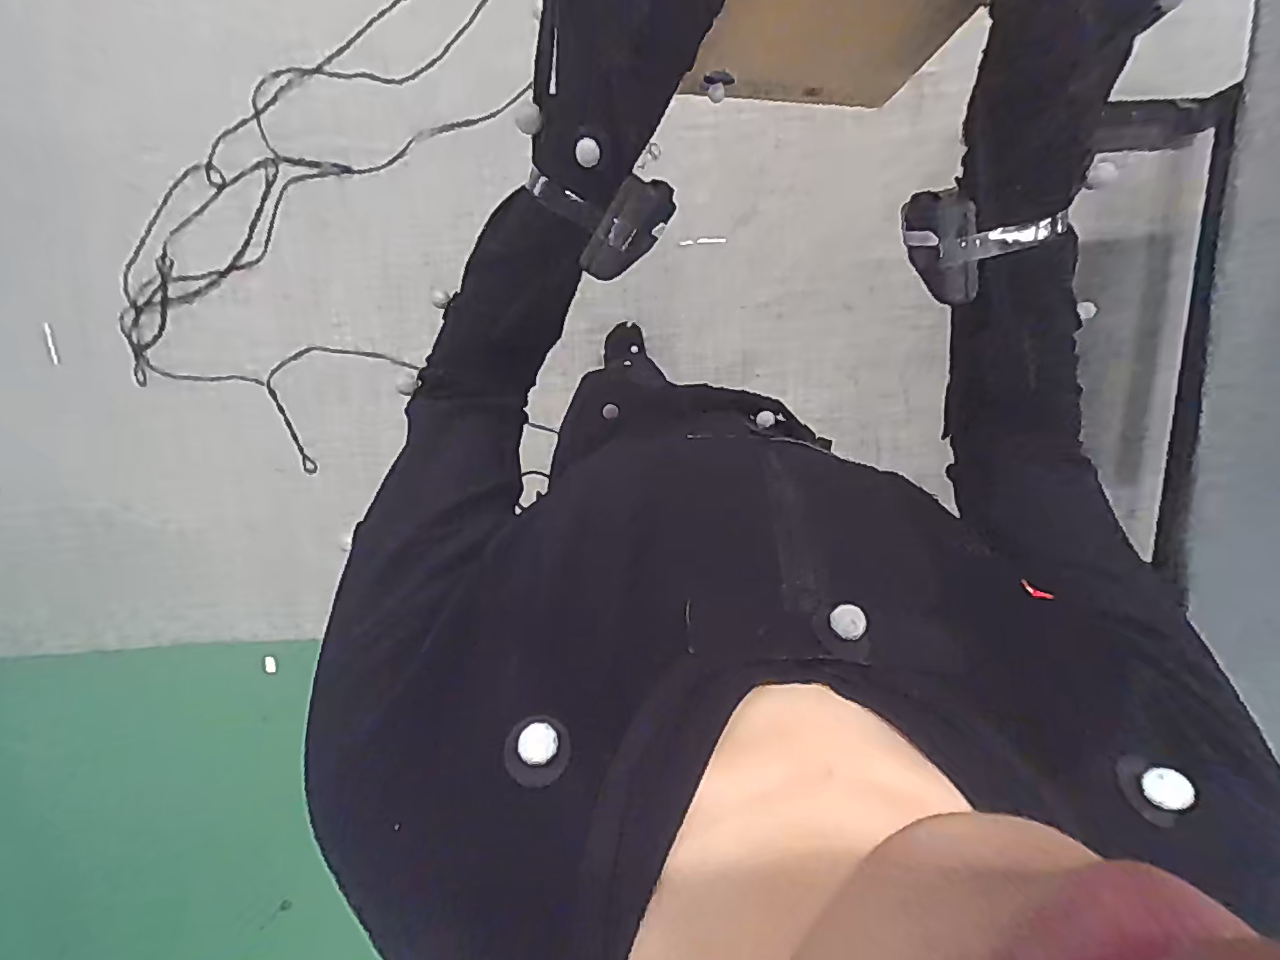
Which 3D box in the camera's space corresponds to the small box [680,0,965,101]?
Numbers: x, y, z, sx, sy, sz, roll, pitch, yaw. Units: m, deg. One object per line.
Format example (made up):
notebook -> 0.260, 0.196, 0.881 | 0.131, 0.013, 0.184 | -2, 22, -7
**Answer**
small box -> 0.115, -0.359, 0.320 | 0.168, 0.176, 0.179 | 4, 102, -1
